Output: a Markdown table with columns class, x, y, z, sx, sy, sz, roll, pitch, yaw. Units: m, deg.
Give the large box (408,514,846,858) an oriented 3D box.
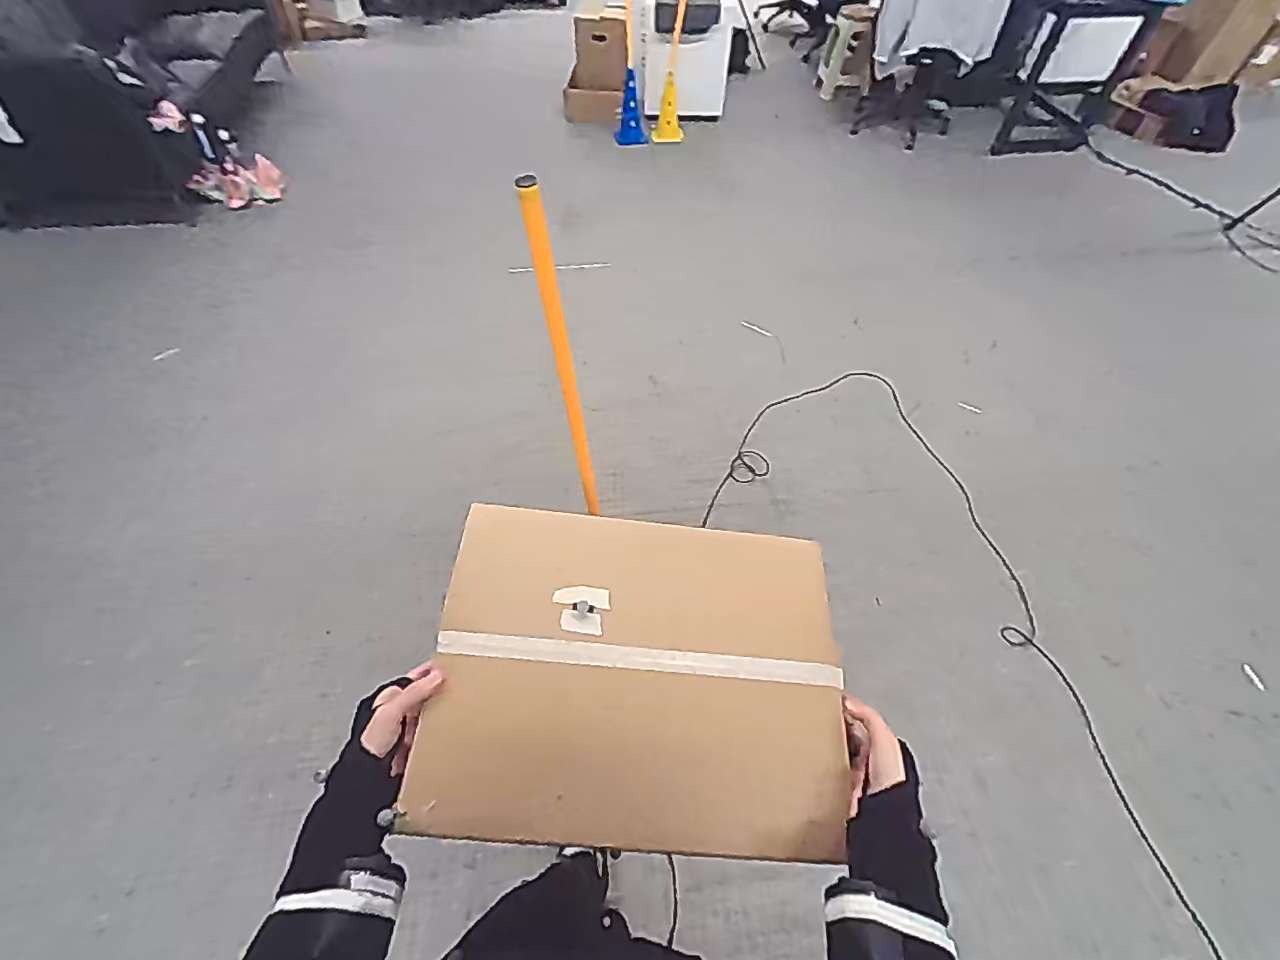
| class | x | y | z | sx | sy | sz | roll | pitch | yaw |
| --- | --- | --- | --- | --- | --- | --- | --- | --- | --- |
| large box | -0.011 | 0.265 | 0.685 | 0.408 | 0.320 | 0.320 | 7 | 58 | -3 |
